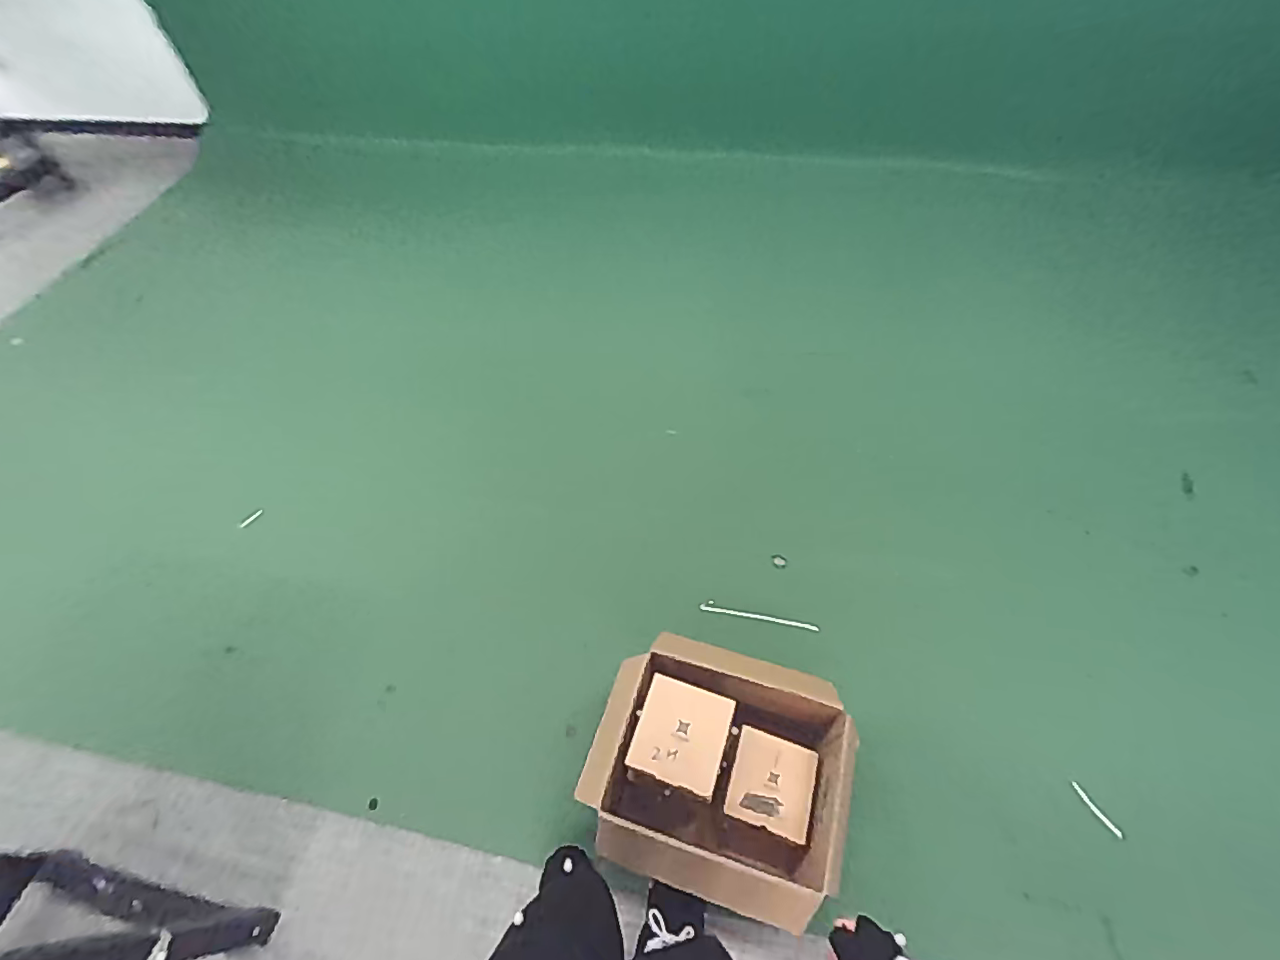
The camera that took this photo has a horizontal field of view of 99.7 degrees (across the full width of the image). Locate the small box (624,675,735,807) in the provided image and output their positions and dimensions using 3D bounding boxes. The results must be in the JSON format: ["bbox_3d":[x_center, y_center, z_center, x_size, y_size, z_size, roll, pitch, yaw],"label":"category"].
[{"bbox_3d":[0.081,0.519,1.070,0.168,0.176,0.179,15,58,16],"label":"small box"}]
